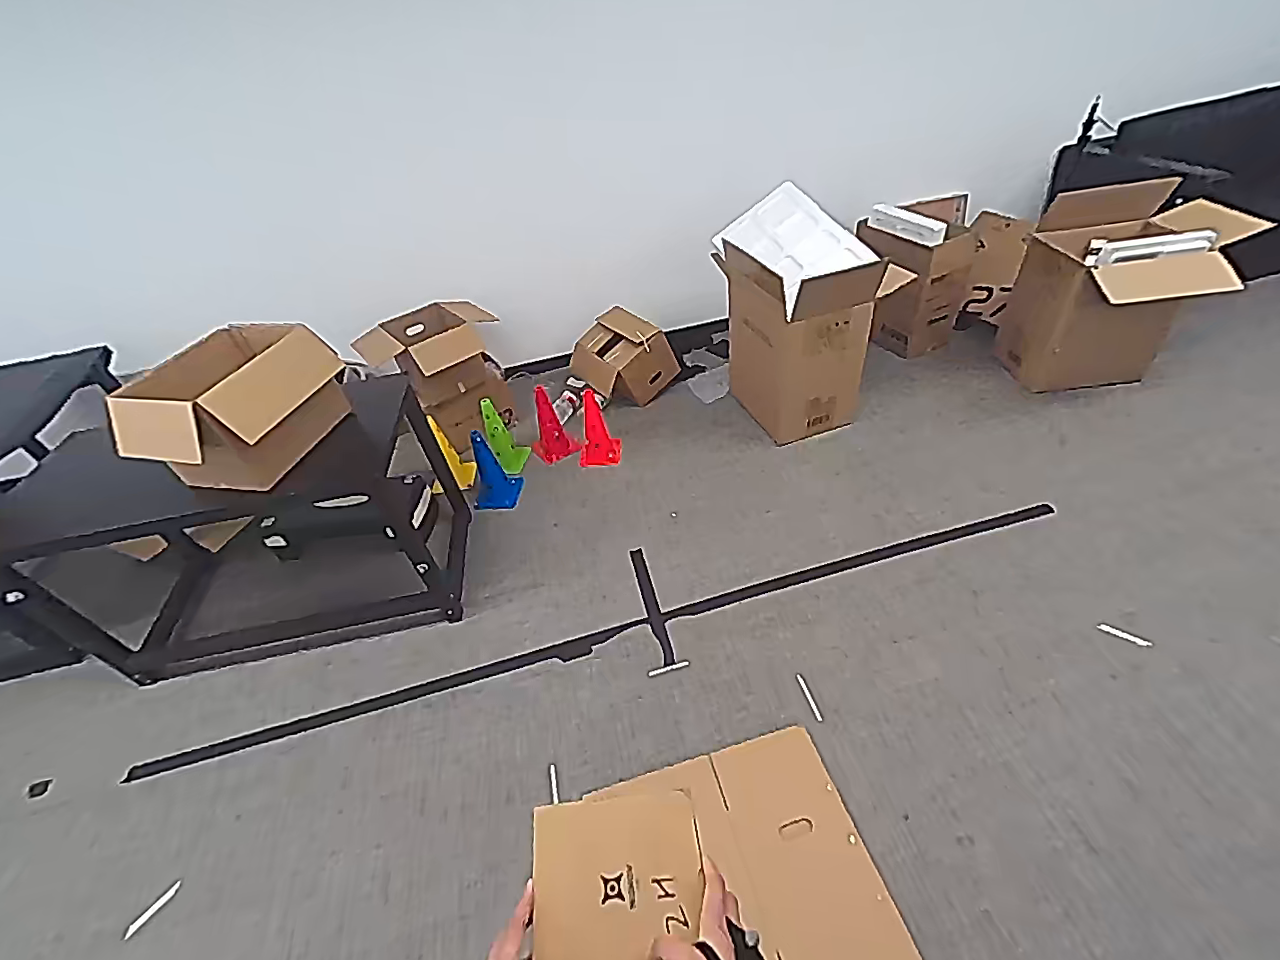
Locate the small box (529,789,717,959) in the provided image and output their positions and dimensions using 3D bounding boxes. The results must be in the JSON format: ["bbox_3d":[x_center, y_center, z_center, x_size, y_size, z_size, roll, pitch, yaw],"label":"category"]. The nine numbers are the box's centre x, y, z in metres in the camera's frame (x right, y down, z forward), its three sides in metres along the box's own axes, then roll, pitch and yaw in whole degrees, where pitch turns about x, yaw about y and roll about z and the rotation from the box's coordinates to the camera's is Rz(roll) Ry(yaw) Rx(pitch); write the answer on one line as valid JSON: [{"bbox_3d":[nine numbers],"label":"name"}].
[{"bbox_3d":[-0.025,0.462,0.594,0.179,0.176,0.168,-2,46,-7],"label":"small box"}]
